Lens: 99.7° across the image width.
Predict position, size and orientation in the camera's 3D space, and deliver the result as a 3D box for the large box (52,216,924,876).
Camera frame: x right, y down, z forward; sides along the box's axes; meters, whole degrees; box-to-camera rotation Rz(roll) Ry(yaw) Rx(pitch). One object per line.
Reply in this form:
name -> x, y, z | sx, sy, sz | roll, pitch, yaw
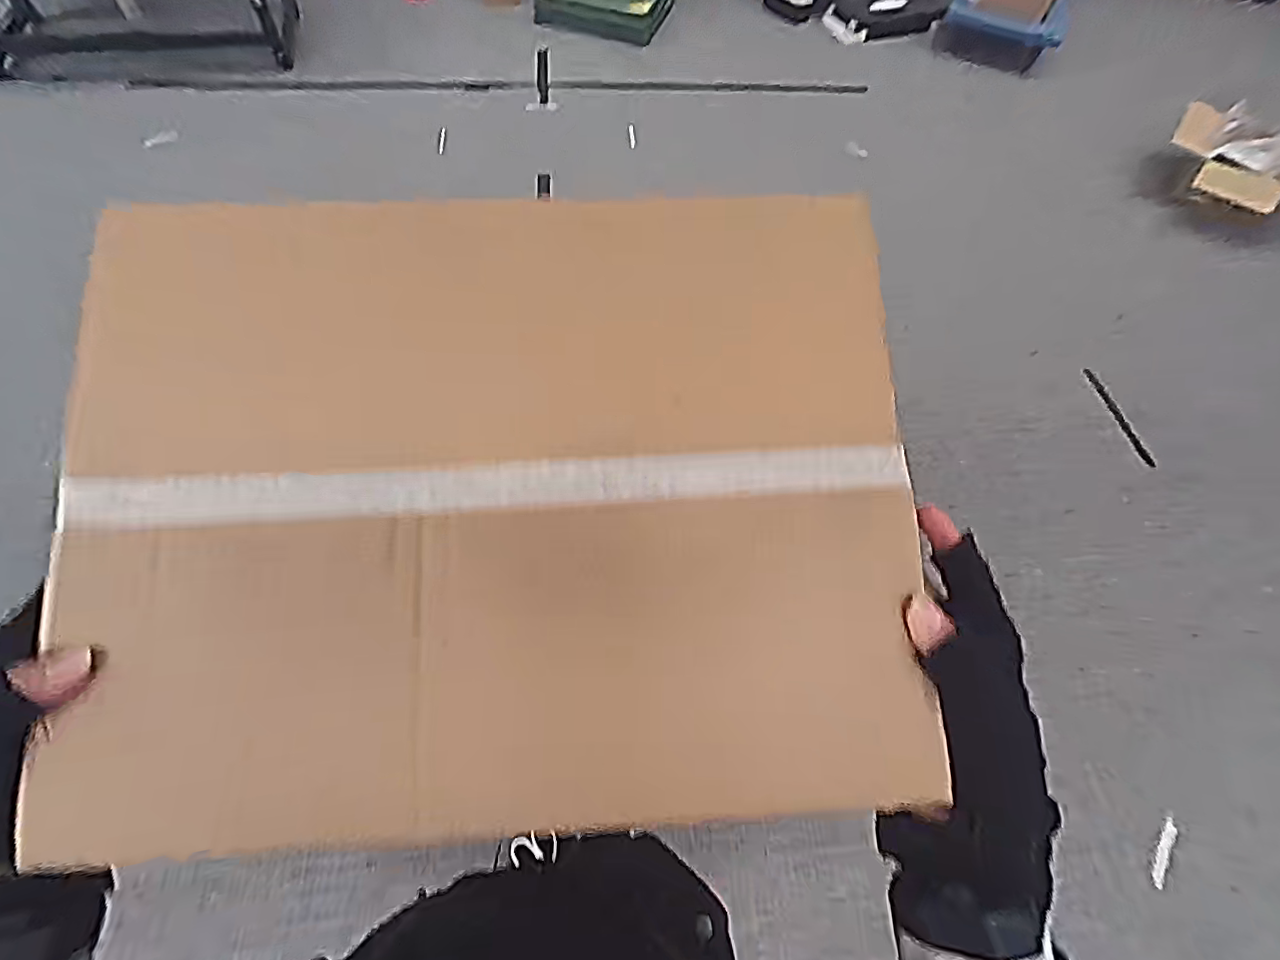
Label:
large box -> -0.075, 0.037, 0.417 | 0.408, 0.320, 0.320 | -3, 79, -3
